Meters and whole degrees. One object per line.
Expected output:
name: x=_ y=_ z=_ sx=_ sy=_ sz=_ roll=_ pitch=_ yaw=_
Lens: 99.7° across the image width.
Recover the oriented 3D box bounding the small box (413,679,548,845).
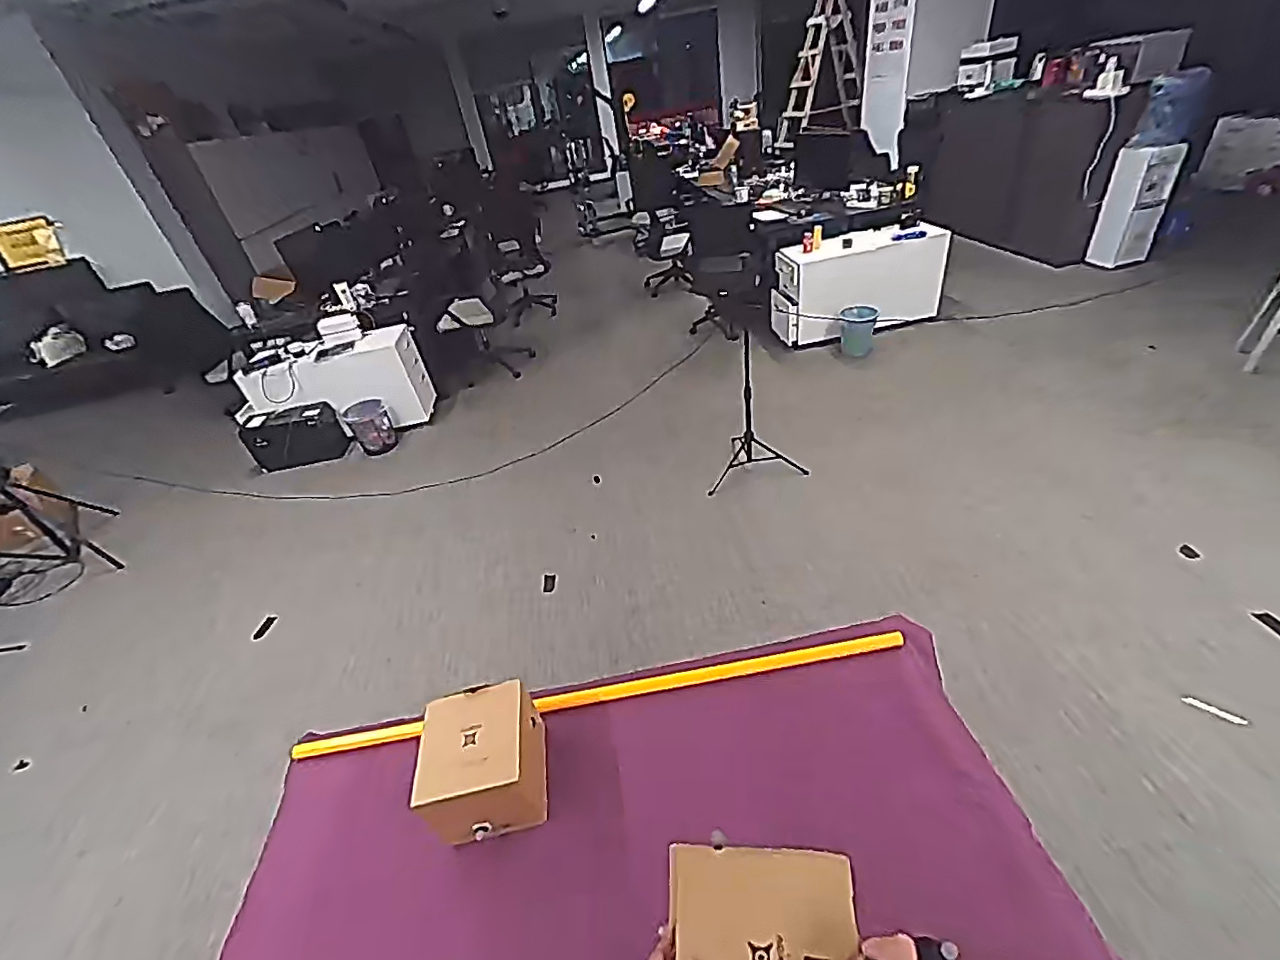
small box: x=-0.256 y=0.473 z=0.911 sx=0.168 sy=0.176 sz=0.179 roll=-13 pitch=37 yaw=-2

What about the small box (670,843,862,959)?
small box: x=0.120 y=0.486 z=0.568 sx=0.179 sy=0.176 sz=0.168 roll=2 pitch=58 yaw=2
